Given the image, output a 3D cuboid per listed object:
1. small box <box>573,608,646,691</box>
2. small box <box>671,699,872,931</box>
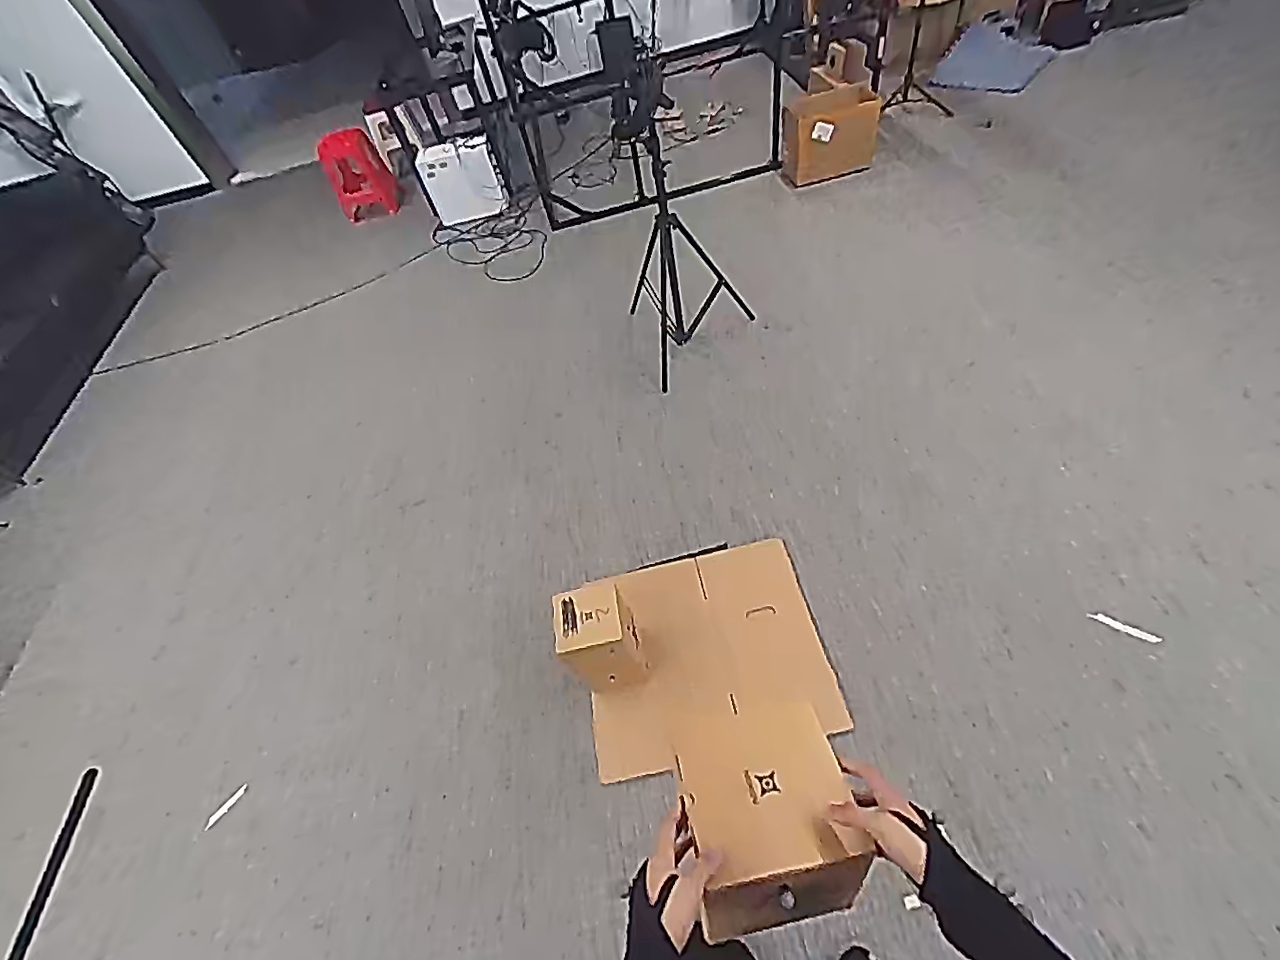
[{"bbox_3d":[-0.085,0.500,1.585,0.179,0.176,0.168,-15,52,3],"label":"small box"},{"bbox_3d":[0.141,0.391,0.636,0.179,0.176,0.168,-11,37,-4],"label":"small box"}]
